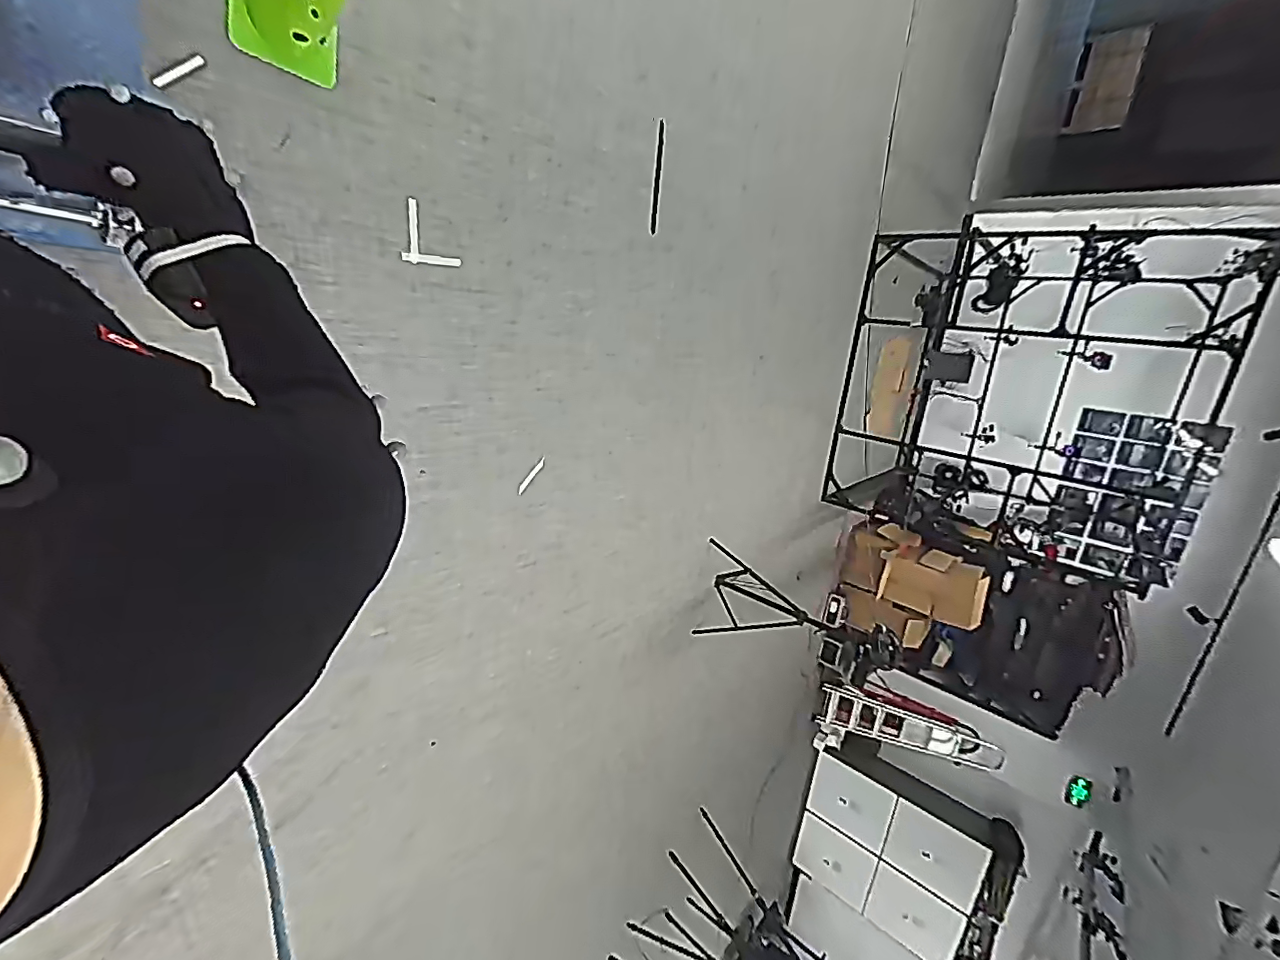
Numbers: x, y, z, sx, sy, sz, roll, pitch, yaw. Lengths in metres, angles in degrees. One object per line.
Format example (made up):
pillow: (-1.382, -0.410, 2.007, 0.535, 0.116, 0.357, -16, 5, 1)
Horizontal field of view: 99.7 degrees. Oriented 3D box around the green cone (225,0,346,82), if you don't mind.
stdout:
green cone: (-0.614, -0.937, 1.026, 0.202, 0.368, 0.200, -8, 111, -51)
